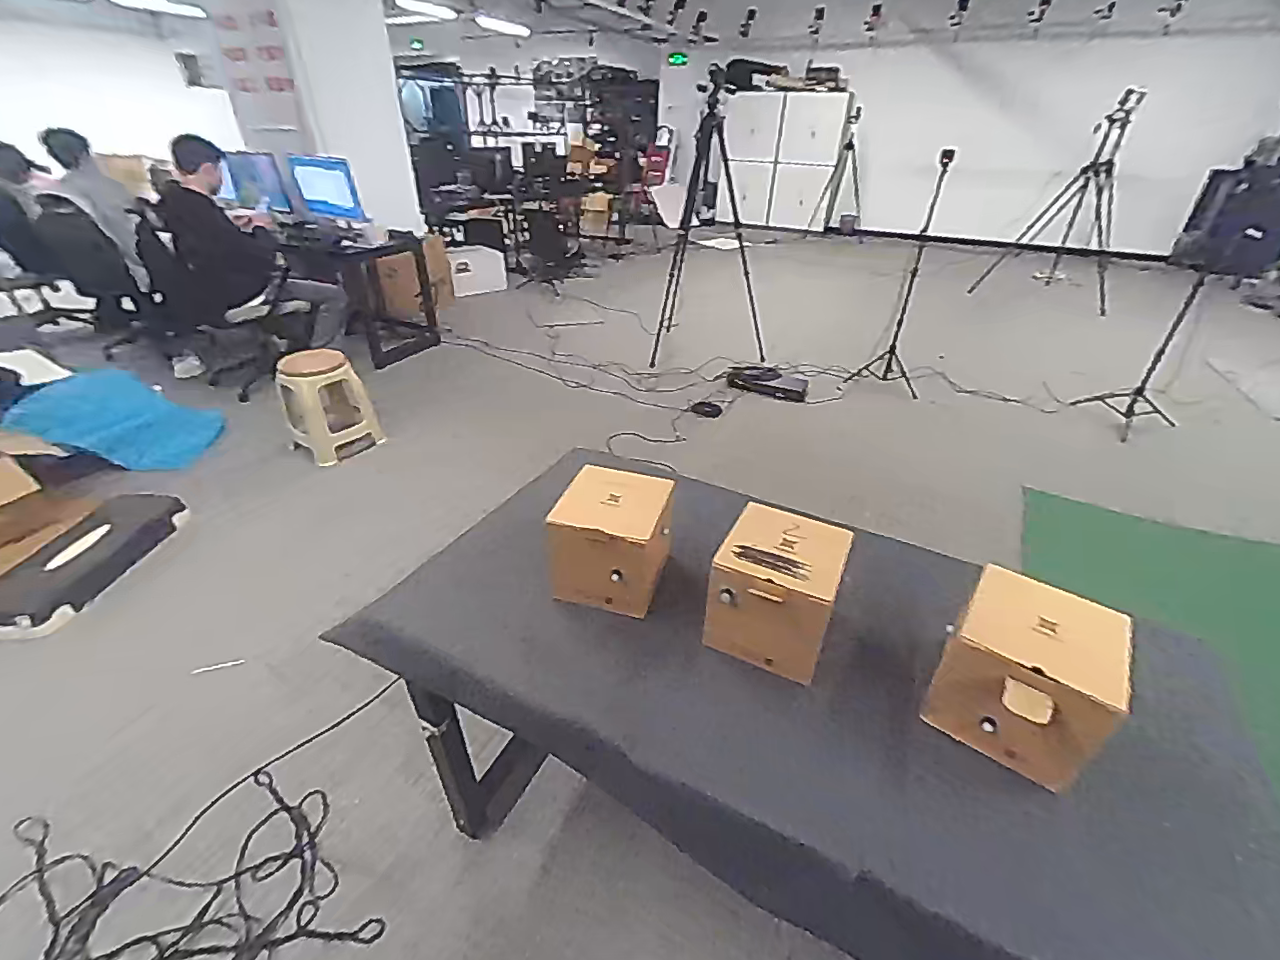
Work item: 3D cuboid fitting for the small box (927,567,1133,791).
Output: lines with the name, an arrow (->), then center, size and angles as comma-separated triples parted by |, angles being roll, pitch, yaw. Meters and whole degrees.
small box -> 0.502, 0.253, 0.710 | 0.168, 0.176, 0.179 | 24, 40, 31

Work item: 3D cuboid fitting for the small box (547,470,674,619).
small box -> -0.043, 0.108, 0.920 | 0.168, 0.176, 0.179 | 11, 33, 12
